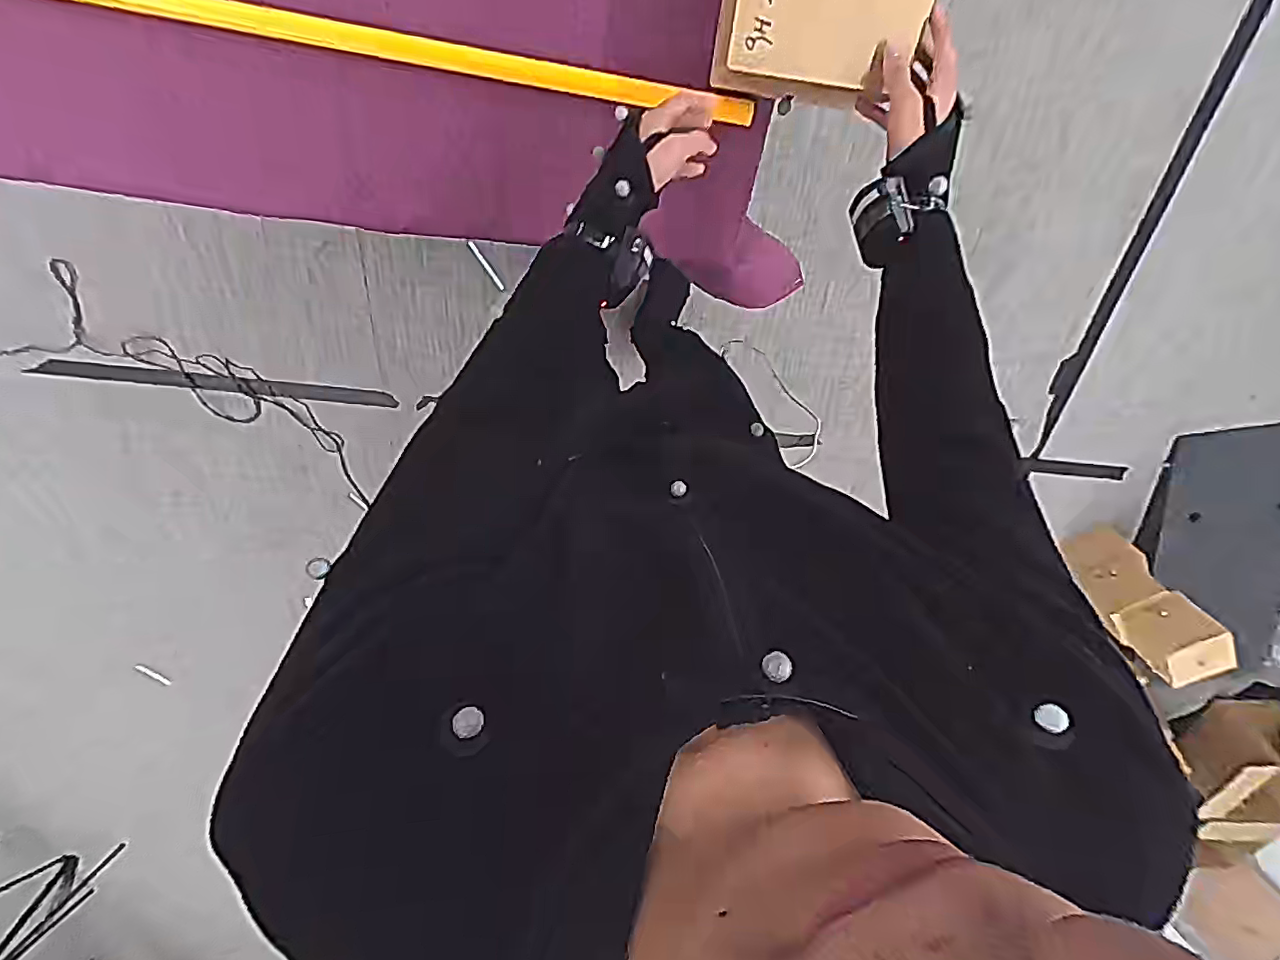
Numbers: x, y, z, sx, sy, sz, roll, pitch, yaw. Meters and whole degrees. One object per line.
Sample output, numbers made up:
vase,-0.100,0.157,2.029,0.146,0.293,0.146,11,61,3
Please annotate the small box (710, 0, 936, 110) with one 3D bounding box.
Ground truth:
small box,0.177,-0.480,0.536,0.179,0.176,0.168,7,121,-4
